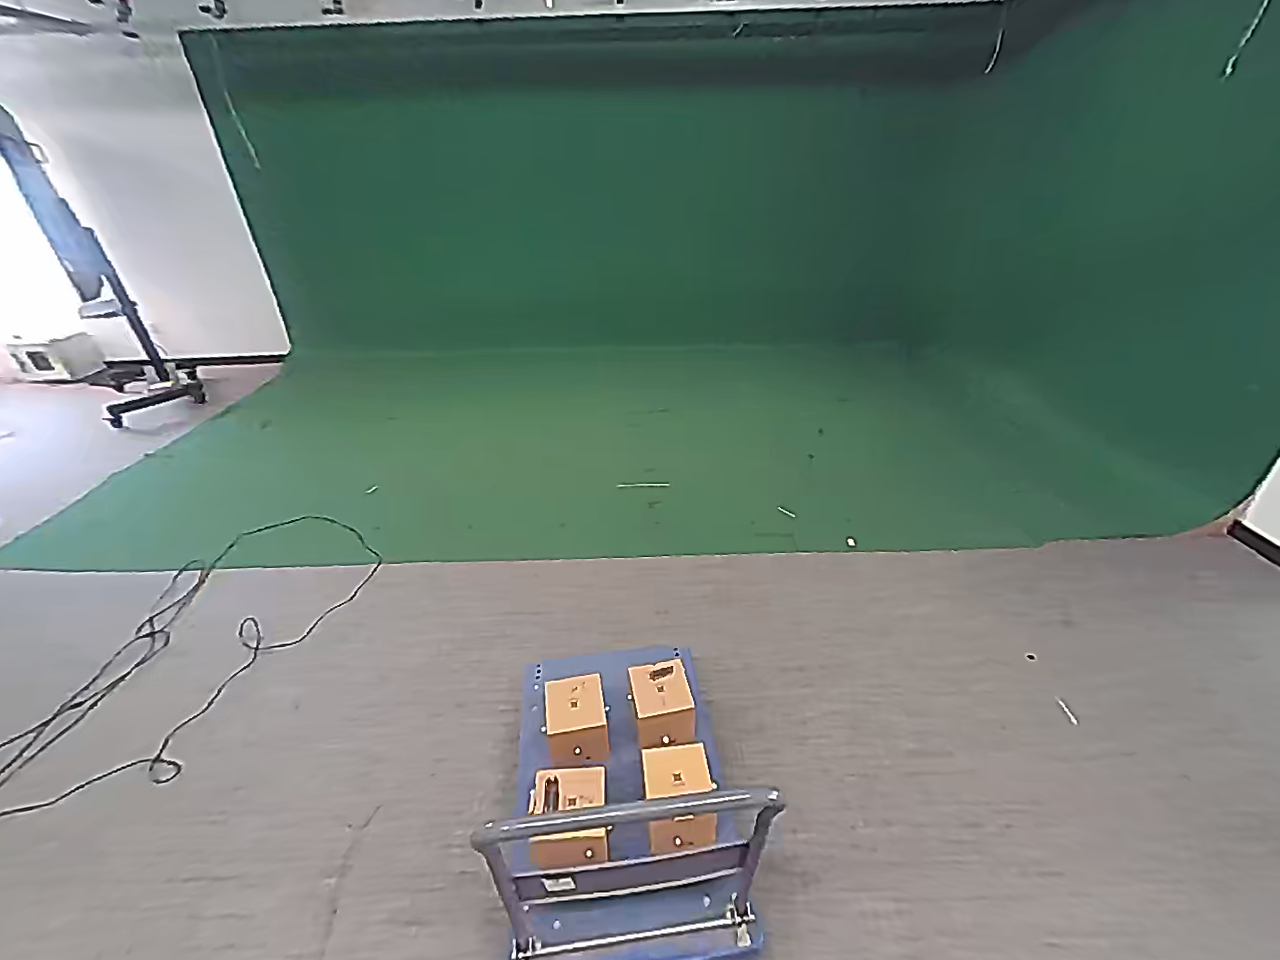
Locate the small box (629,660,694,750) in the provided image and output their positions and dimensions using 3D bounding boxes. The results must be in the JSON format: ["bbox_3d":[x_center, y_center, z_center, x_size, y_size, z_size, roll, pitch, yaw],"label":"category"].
[{"bbox_3d":[0.060,0.674,1.617,0.168,0.176,0.179,-7,34,-8],"label":"small box"}]

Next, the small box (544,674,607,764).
[{"bbox_3d":[-0.188,0.704,1.580,0.168,0.176,0.179,-6,33,-8],"label":"small box"}]

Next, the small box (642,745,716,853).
[{"bbox_3d":[0.093,0.818,1.391,0.168,0.176,0.179,-4,33,-4],"label":"small box"}]
